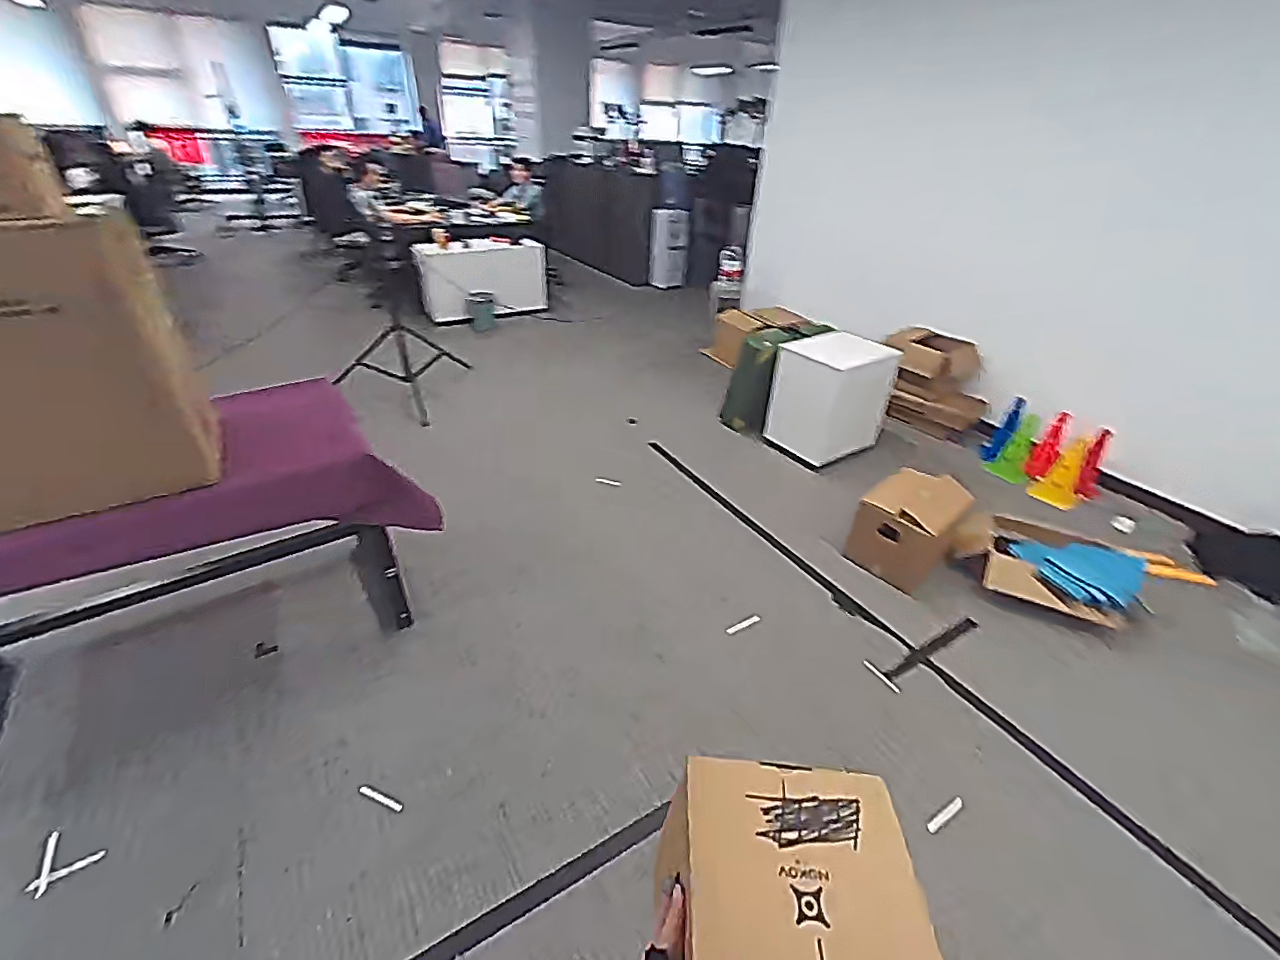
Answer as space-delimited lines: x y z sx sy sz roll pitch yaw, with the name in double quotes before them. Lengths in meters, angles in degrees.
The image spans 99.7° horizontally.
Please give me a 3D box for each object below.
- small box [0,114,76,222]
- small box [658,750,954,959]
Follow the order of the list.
"small box" -1.231 -0.591 1.025 0.168 0.176 0.179 -17 38 -27
"small box" 0.106 0.340 0.409 0.168 0.176 0.179 7 32 -3
